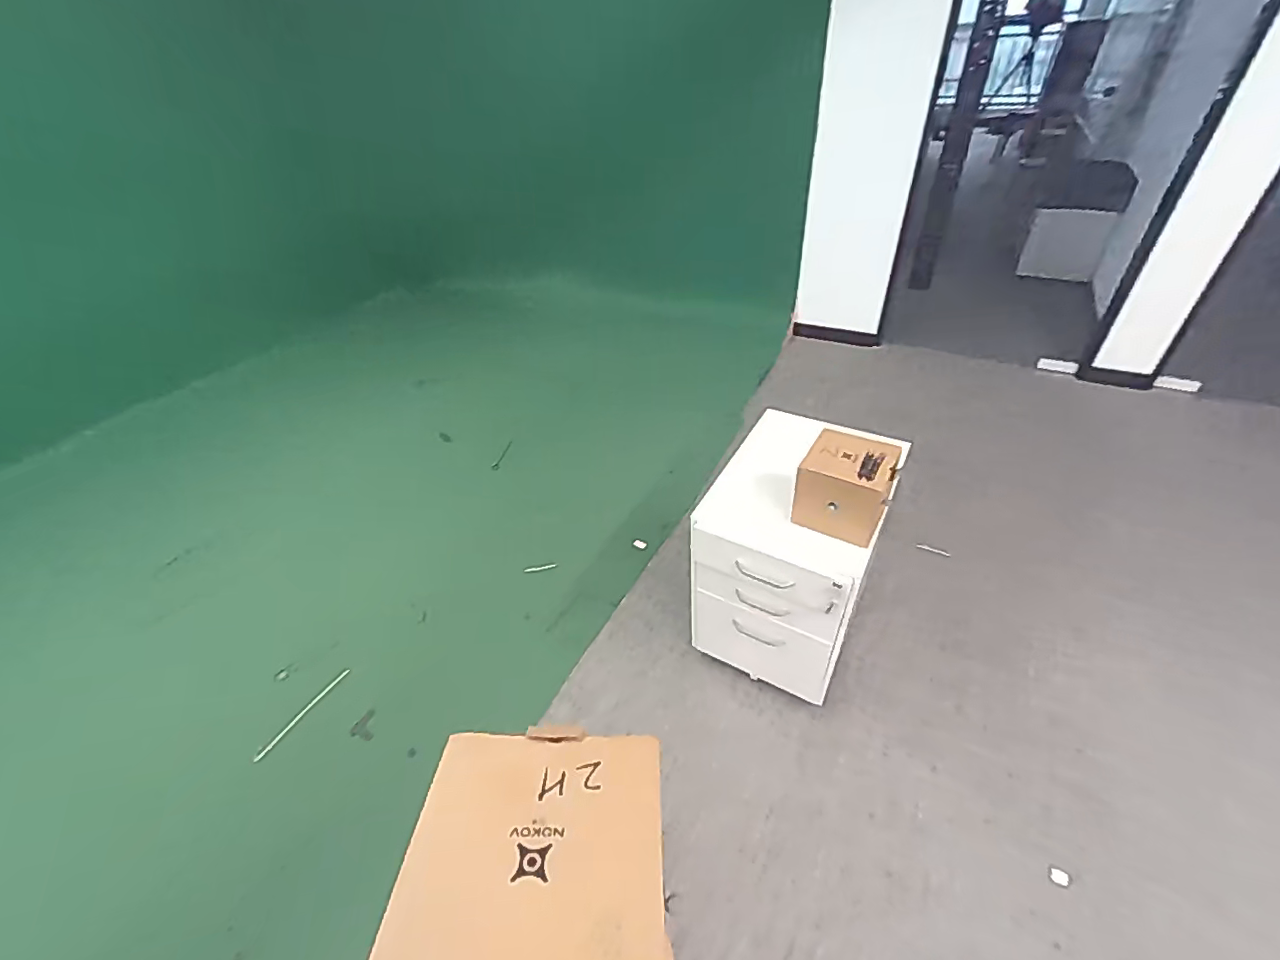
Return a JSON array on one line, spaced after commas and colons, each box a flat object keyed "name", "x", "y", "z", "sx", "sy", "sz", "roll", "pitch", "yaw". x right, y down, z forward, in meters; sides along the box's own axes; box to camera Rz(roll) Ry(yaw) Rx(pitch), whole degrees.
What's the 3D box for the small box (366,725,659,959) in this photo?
[{"name": "small box", "x": -0.071, "y": 0.309, "z": 0.391, "sx": 0.168, "sy": 0.176, "sz": 0.179, "roll": 2, "pitch": 26, "yaw": 0}]
